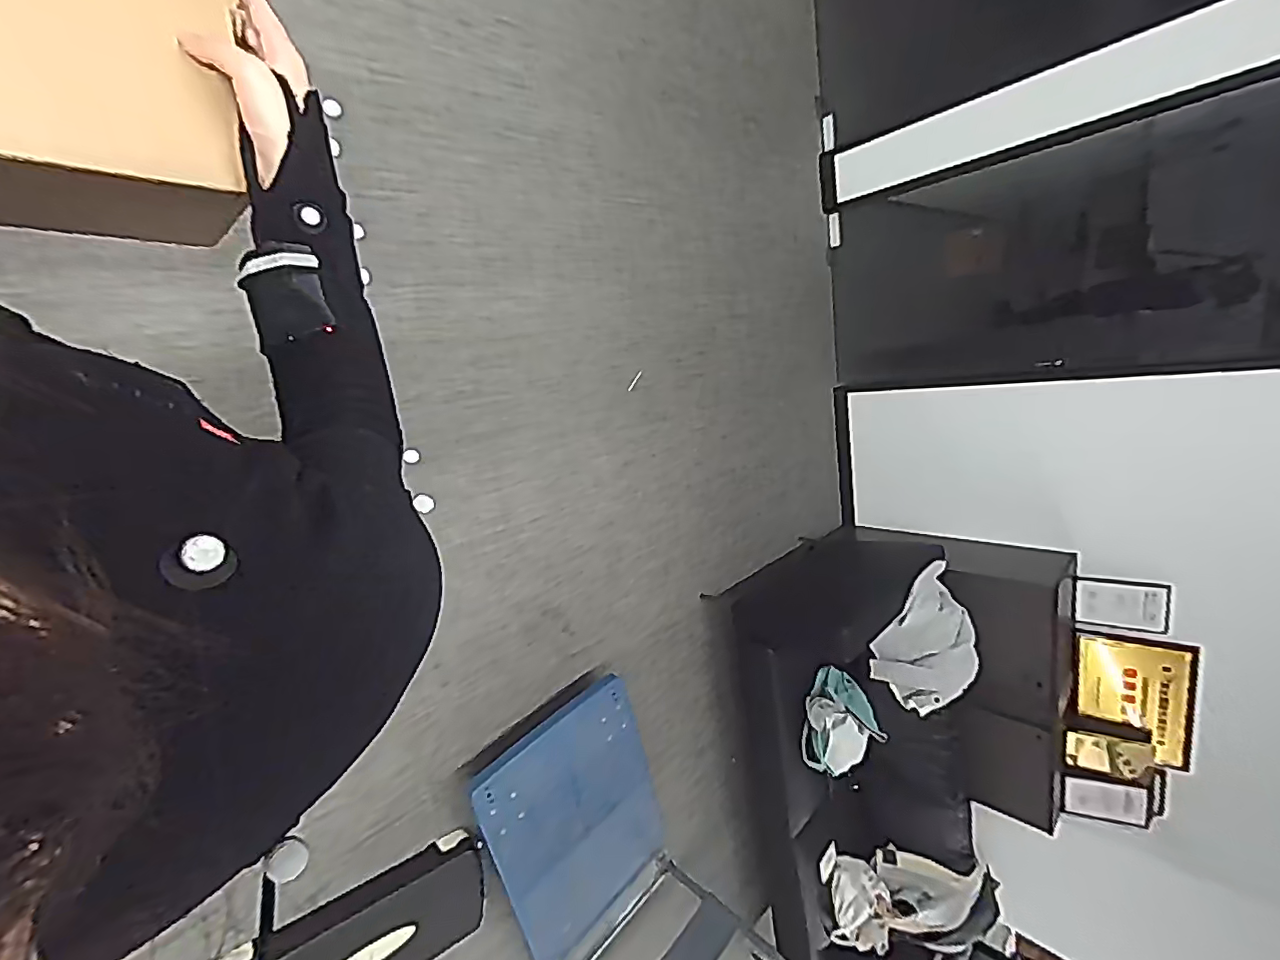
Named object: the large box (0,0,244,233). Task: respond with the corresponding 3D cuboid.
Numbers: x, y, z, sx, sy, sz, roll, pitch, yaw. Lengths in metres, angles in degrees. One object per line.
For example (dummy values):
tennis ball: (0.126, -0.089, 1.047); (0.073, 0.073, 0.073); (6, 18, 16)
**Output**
large box: (-0.556, -0.369, 0.367); (0.408, 0.320, 0.320); (-12, 108, -40)
